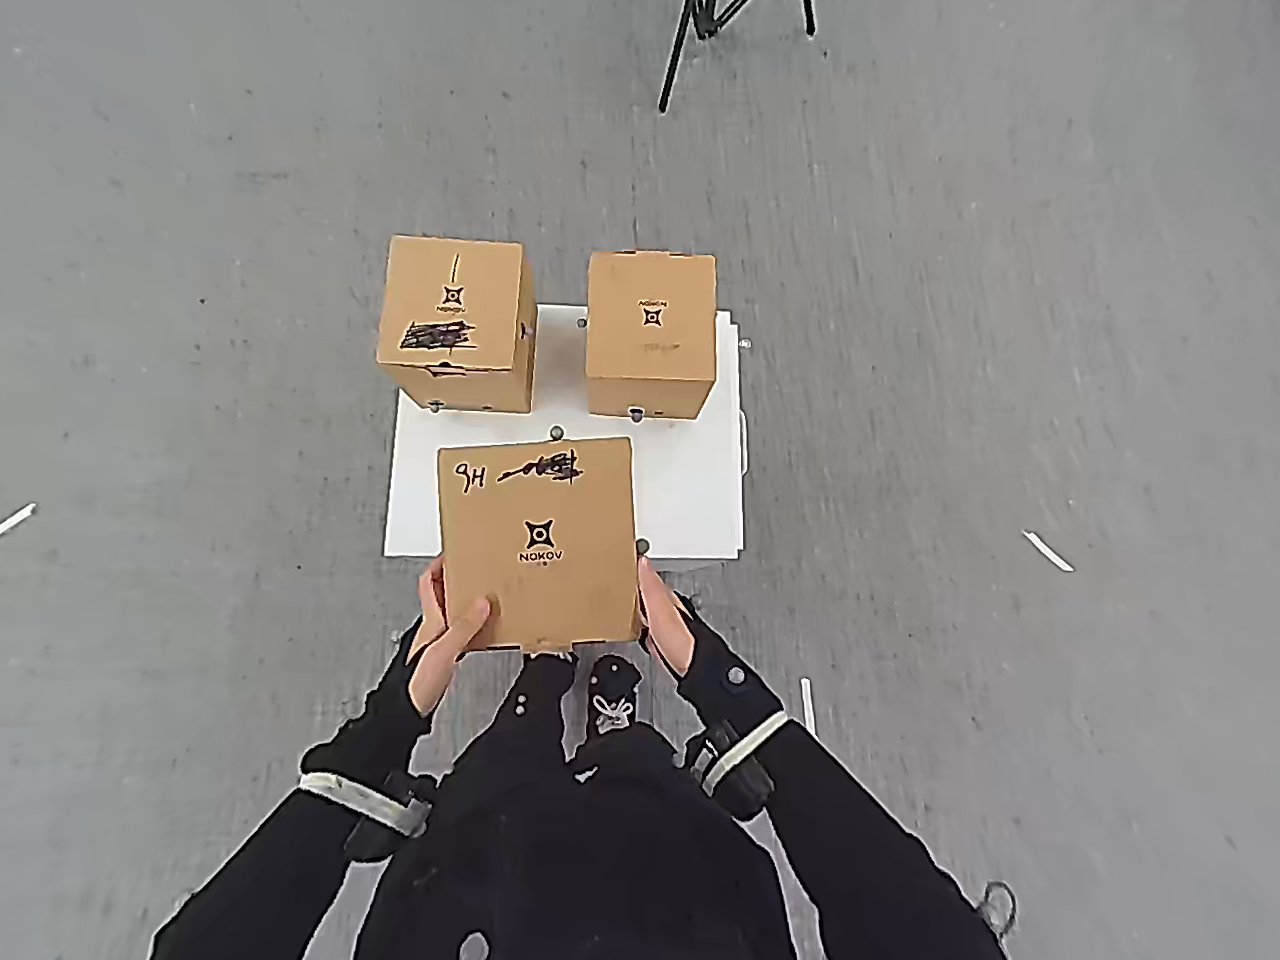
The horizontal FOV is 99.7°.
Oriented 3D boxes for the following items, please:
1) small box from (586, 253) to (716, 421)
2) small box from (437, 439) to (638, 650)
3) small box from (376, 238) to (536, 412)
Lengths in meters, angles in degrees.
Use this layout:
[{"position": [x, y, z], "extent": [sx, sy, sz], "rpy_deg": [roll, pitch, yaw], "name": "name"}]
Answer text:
[{"position": [0.011, -0.192, 0.763], "extent": [0.168, 0.176, 0.179], "rpy_deg": [0, 80, -2], "name": "small box"}, {"position": [-0.087, 0.054, 0.540], "extent": [0.168, 0.176, 0.179], "rpy_deg": [-4, 90, -1], "name": "small box"}, {"position": [-0.239, -0.200, 0.744], "extent": [0.168, 0.176, 0.179], "rpy_deg": [2, 78, -4], "name": "small box"}]
